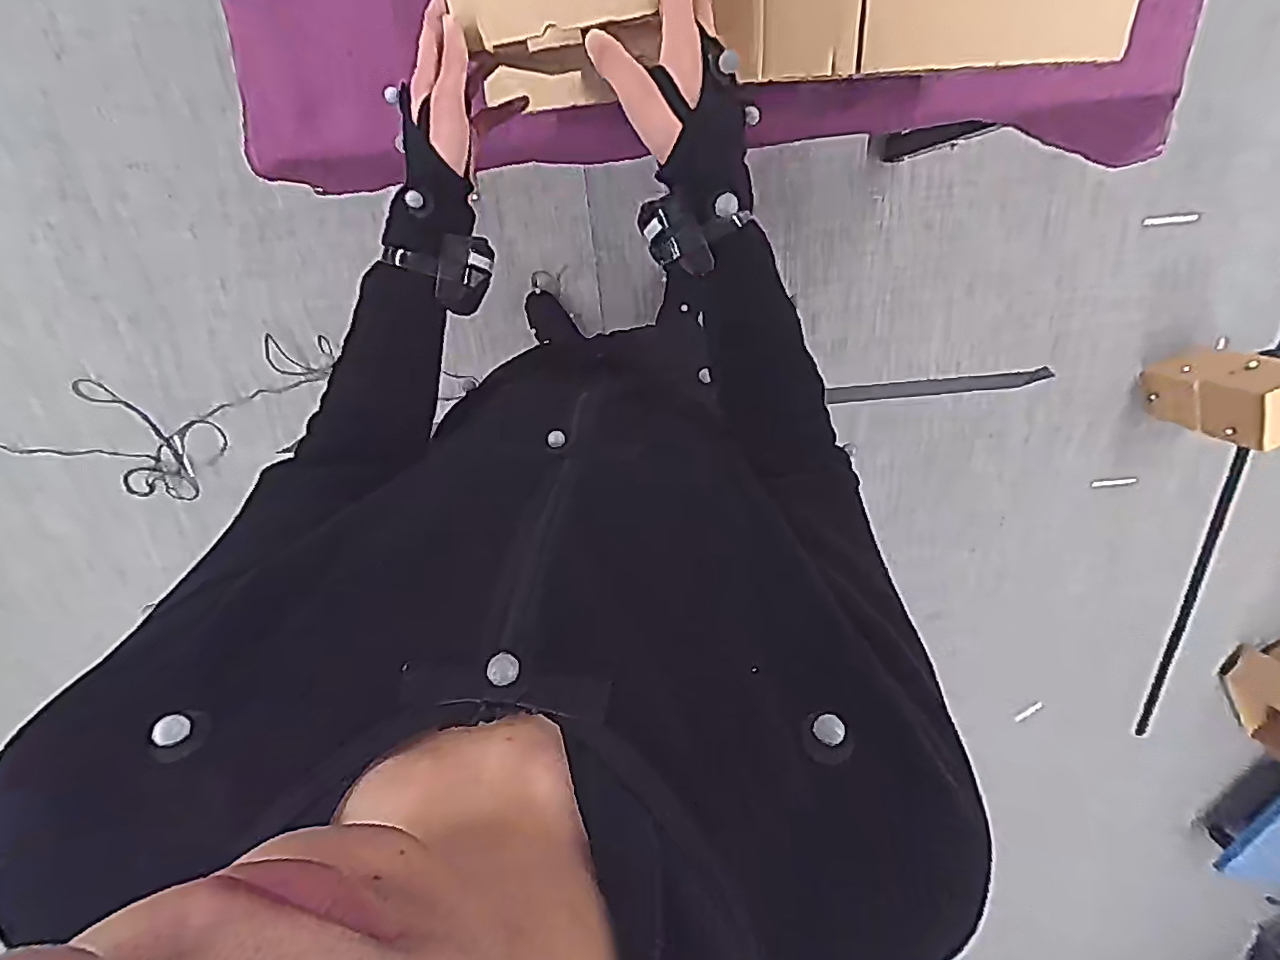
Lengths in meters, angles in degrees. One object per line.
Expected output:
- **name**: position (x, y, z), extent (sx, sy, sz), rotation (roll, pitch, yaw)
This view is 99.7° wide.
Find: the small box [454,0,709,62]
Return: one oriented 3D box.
- **small box**: position (-0.043, -0.442, 0.417), extent (0.168, 0.176, 0.179), rotation (5, 124, 17)
